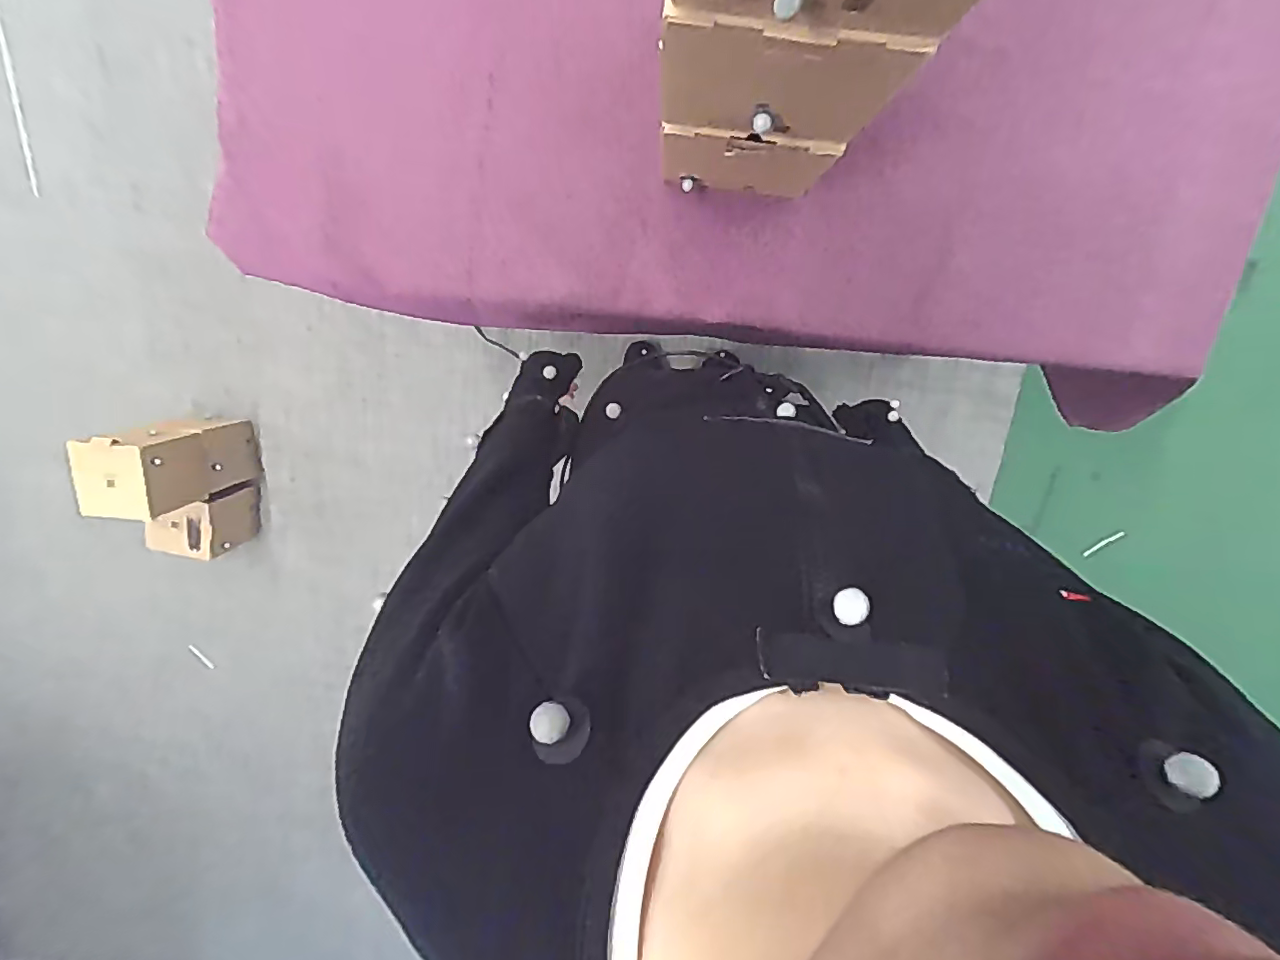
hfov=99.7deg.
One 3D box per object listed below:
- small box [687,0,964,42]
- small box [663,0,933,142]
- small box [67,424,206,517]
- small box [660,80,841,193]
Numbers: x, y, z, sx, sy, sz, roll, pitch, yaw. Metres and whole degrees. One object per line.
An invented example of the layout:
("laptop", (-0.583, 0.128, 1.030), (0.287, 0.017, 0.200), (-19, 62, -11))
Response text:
("small box", (0.103, -0.334, 0.223), (0.168, 0.176, 0.179), (8, 105, 1))
("small box", (0.107, -0.372, 0.381), (0.168, 0.176, 0.179), (8, 106, 1))
("small box", (-1.174, -0.027, 1.278), (0.168, 0.176, 0.179), (5, 105, 1))
("small box", (0.114, -0.408, 0.542), (0.168, 0.176, 0.179), (8, 105, 0))
